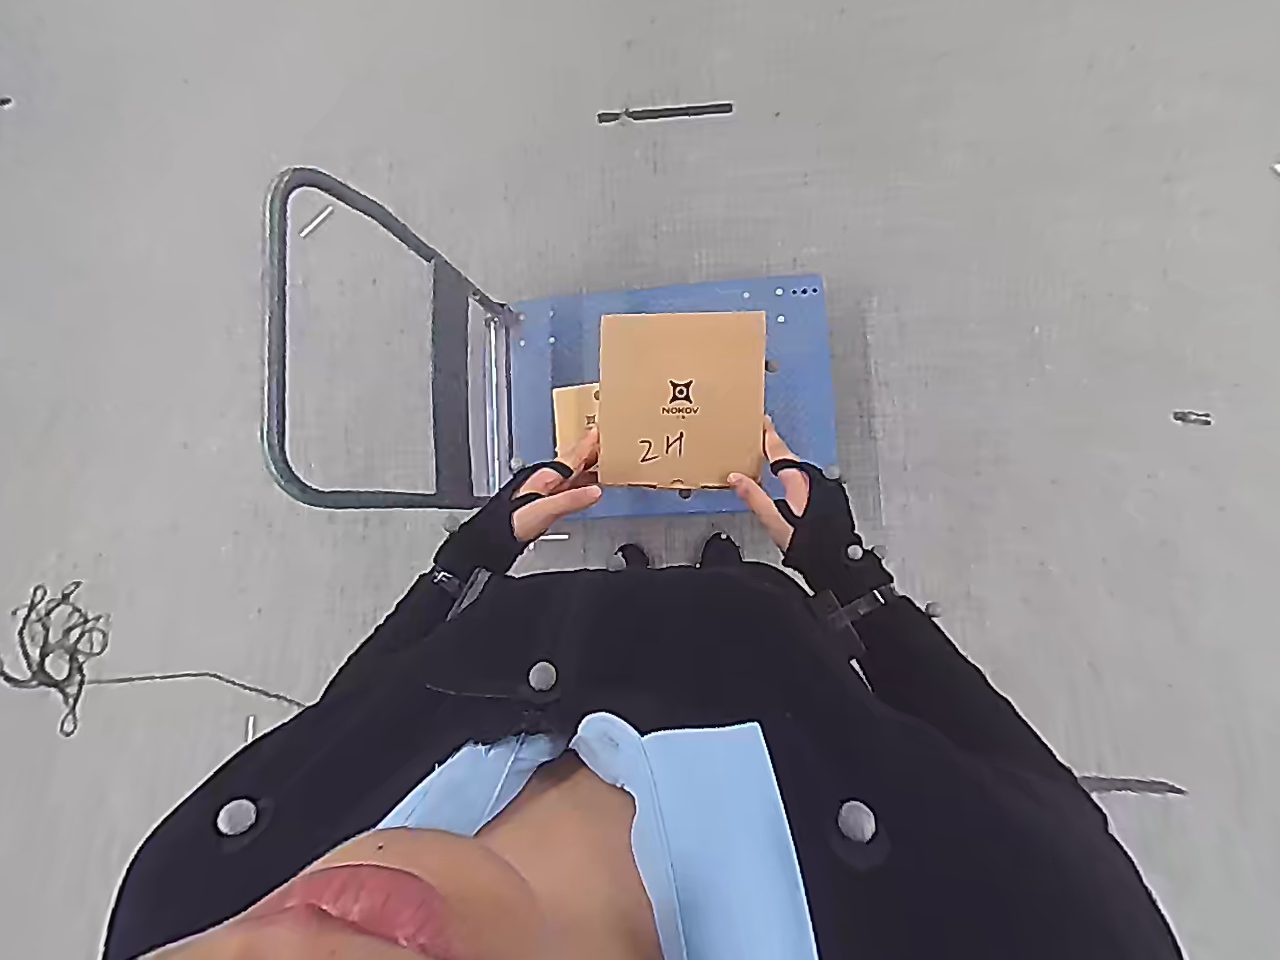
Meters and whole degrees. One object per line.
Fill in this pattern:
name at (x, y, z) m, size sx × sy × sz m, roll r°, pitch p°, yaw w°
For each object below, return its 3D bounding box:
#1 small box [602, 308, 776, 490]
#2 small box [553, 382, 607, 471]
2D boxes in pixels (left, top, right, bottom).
small box at (0.057, -0.081, 0.609) m, size 0.168 × 0.176 × 0.179 m, roll 2°, pitch 91°, yaw 9°
small box at (-0.100, -0.121, 1.272) m, size 0.168 × 0.176 × 0.179 m, roll -7°, pitch 86°, yaw 6°
